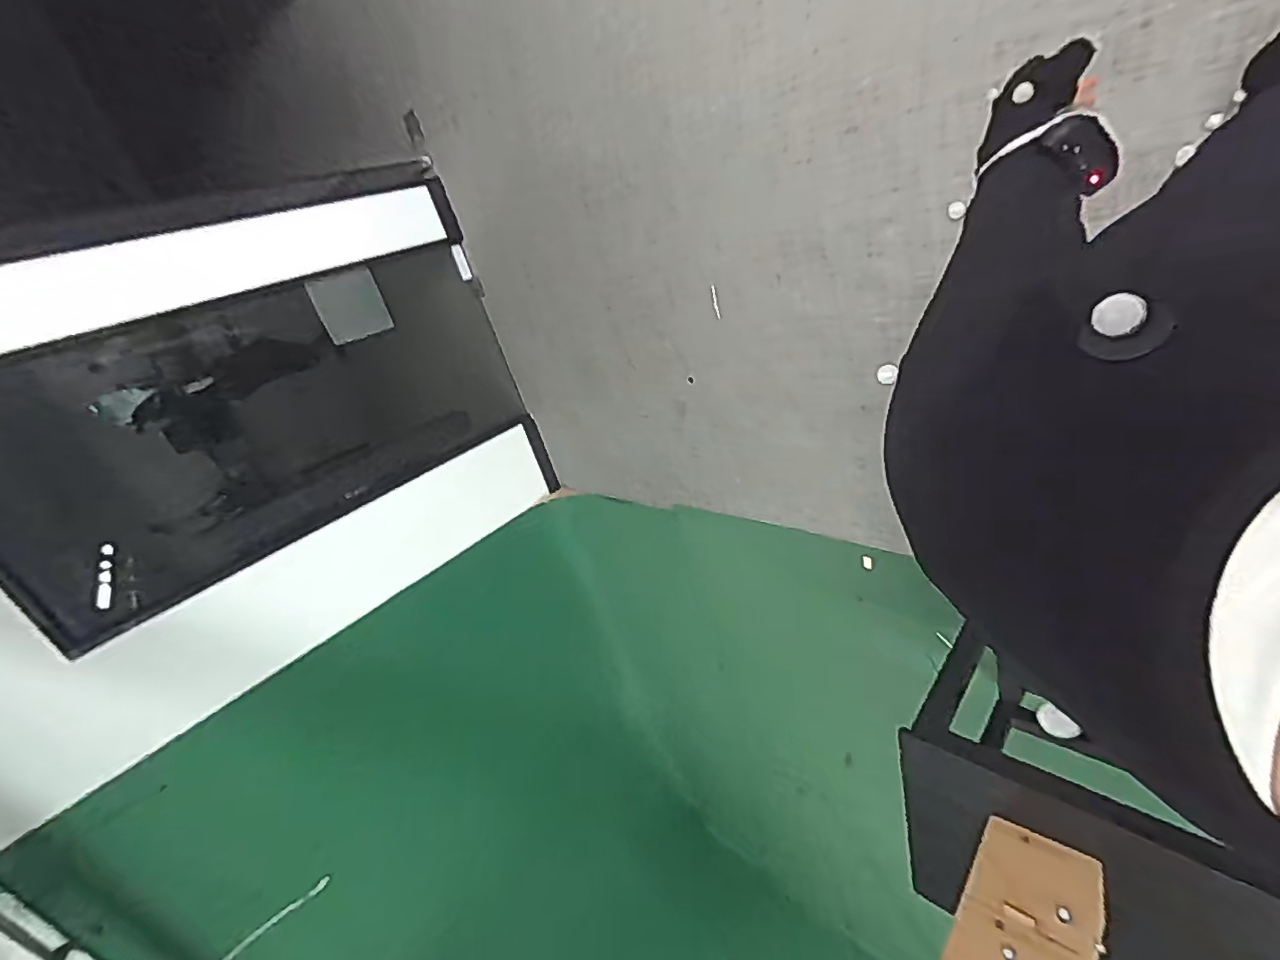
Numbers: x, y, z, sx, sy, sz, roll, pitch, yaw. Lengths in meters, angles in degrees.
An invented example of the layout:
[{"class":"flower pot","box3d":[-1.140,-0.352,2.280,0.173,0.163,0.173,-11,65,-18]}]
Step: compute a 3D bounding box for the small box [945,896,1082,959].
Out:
[{"class":"small box","box3d":[0.607,0.838,0.870,0.168,0.176,0.179,0,119,49]}]
